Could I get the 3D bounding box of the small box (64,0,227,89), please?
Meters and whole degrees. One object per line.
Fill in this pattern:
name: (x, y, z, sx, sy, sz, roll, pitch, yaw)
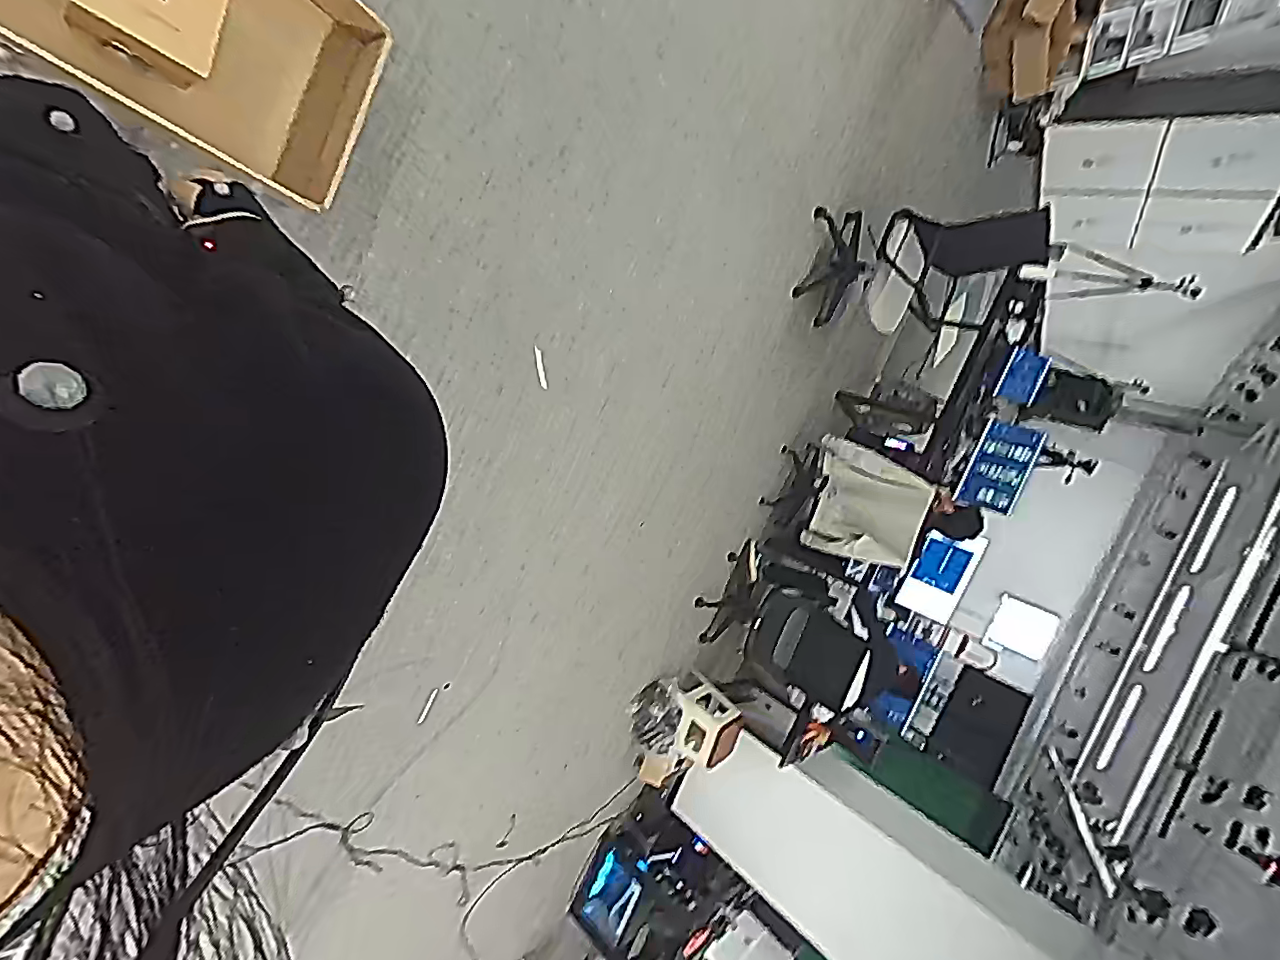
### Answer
small box: (-0.810, -0.787, 0.886, 0.168, 0.176, 0.179, 11, 102, -52)
